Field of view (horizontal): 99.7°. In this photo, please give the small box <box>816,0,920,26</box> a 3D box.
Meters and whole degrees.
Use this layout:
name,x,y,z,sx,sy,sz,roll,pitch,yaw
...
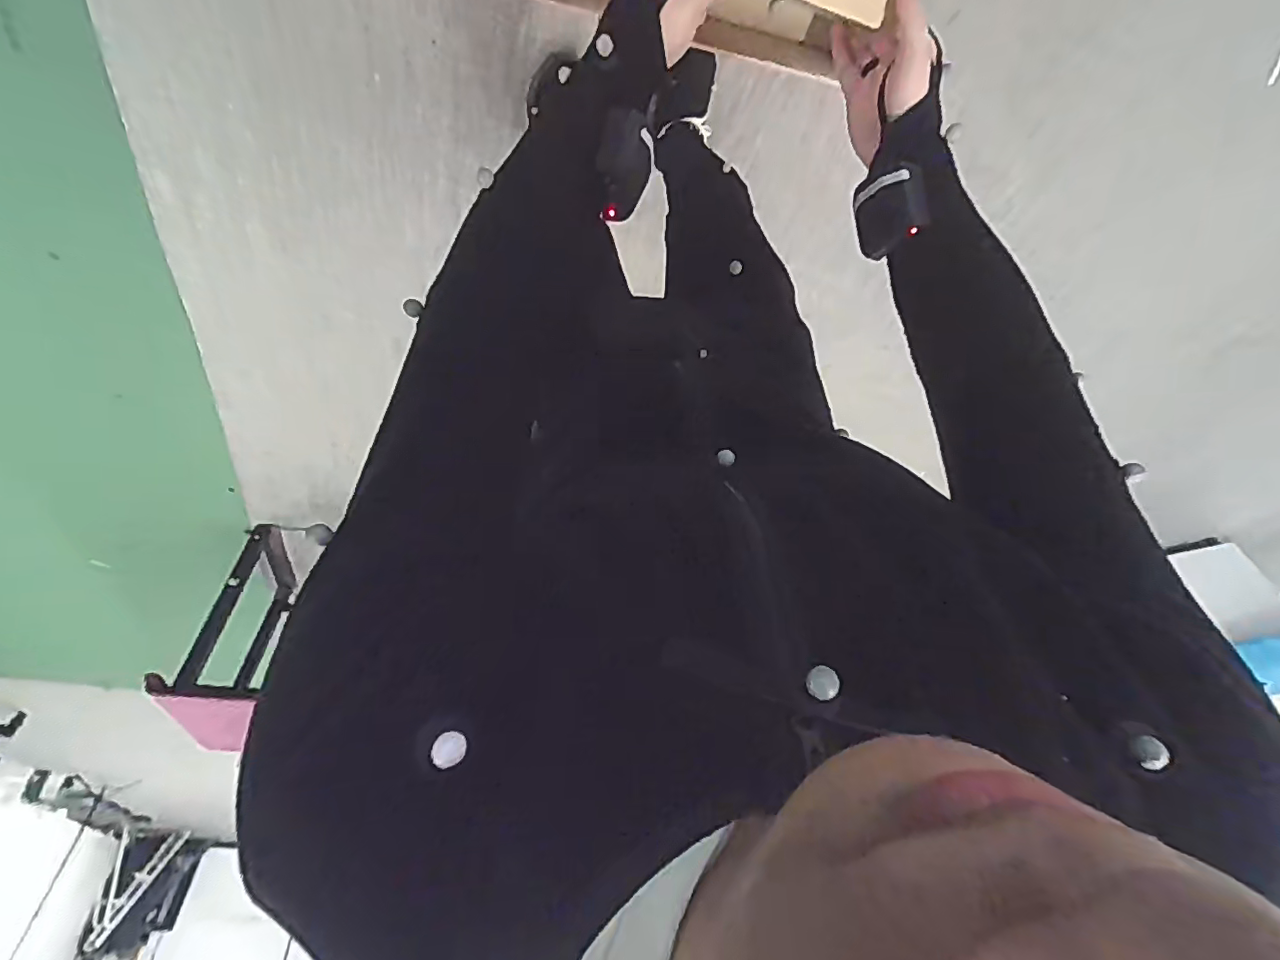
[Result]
name,x,y,z,sx,sy,sz,roll,pitch,yaw
small box,0.163,-0.506,0.432,0.168,0.176,0.179,8,132,-14
